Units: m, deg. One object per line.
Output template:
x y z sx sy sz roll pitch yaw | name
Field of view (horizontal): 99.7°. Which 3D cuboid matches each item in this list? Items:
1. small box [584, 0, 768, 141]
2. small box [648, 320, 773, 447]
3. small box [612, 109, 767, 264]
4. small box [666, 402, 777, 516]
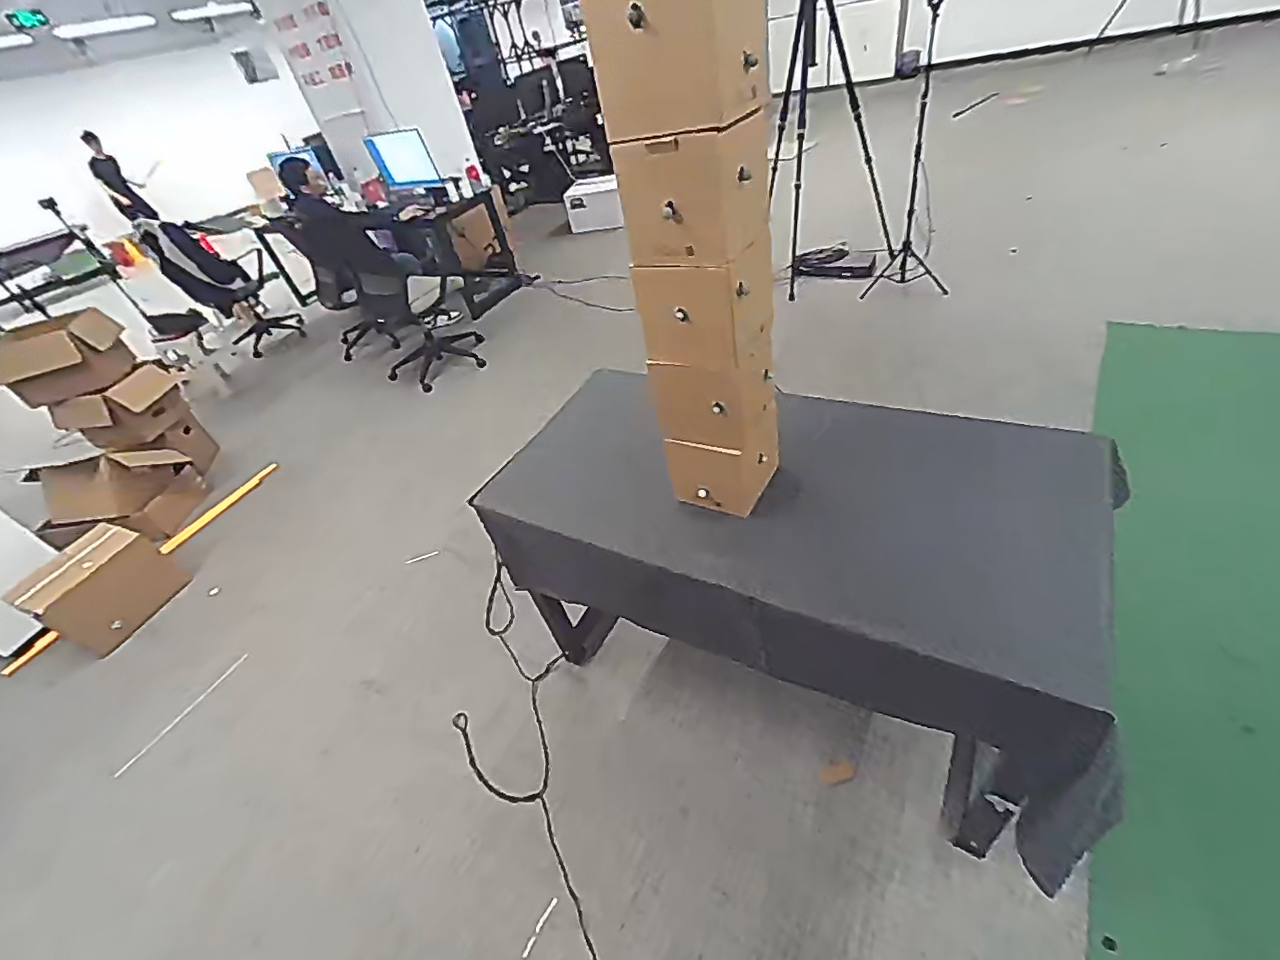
0.055 -0.560 0.707 0.179 0.176 0.168 13 46 30 | small box
0.140 -0.180 1.008 0.179 0.176 0.168 12 46 29 | small box
0.086 -0.438 0.815 0.168 0.176 0.179 13 47 29 | small box
0.173 -0.056 1.108 0.168 0.176 0.179 14 48 31 | small box
